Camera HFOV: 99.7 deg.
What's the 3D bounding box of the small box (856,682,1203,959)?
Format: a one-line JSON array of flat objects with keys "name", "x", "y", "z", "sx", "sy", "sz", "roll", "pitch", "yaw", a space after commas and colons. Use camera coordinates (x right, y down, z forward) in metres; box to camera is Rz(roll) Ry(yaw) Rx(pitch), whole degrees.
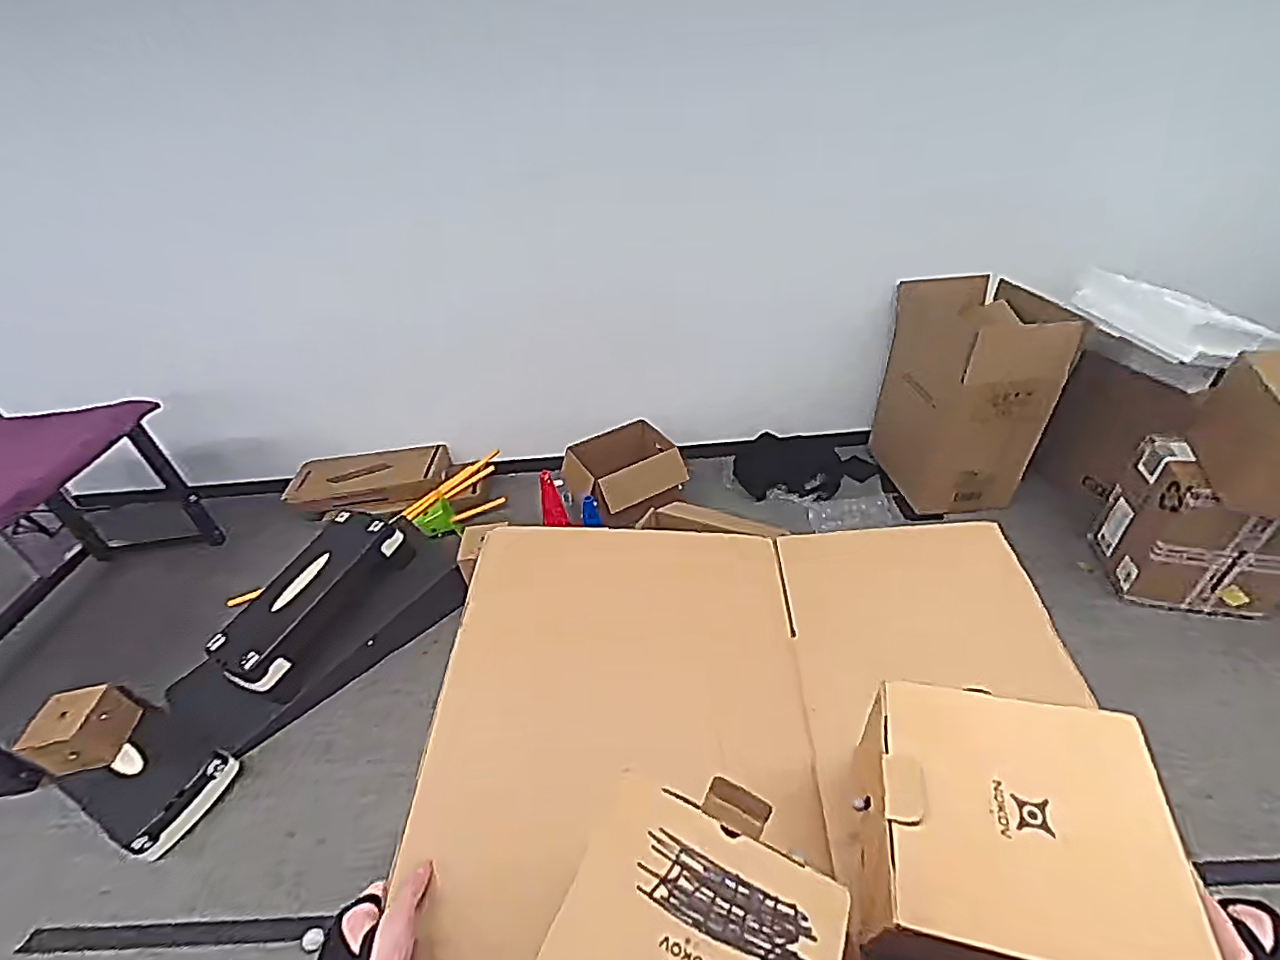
[{"name": "small box", "x": 0.279, "y": 0.290, "z": 0.439, "sx": 0.179, "sy": 0.176, "sz": 0.168, "roll": 3, "pitch": 47, "yaw": 17}]
